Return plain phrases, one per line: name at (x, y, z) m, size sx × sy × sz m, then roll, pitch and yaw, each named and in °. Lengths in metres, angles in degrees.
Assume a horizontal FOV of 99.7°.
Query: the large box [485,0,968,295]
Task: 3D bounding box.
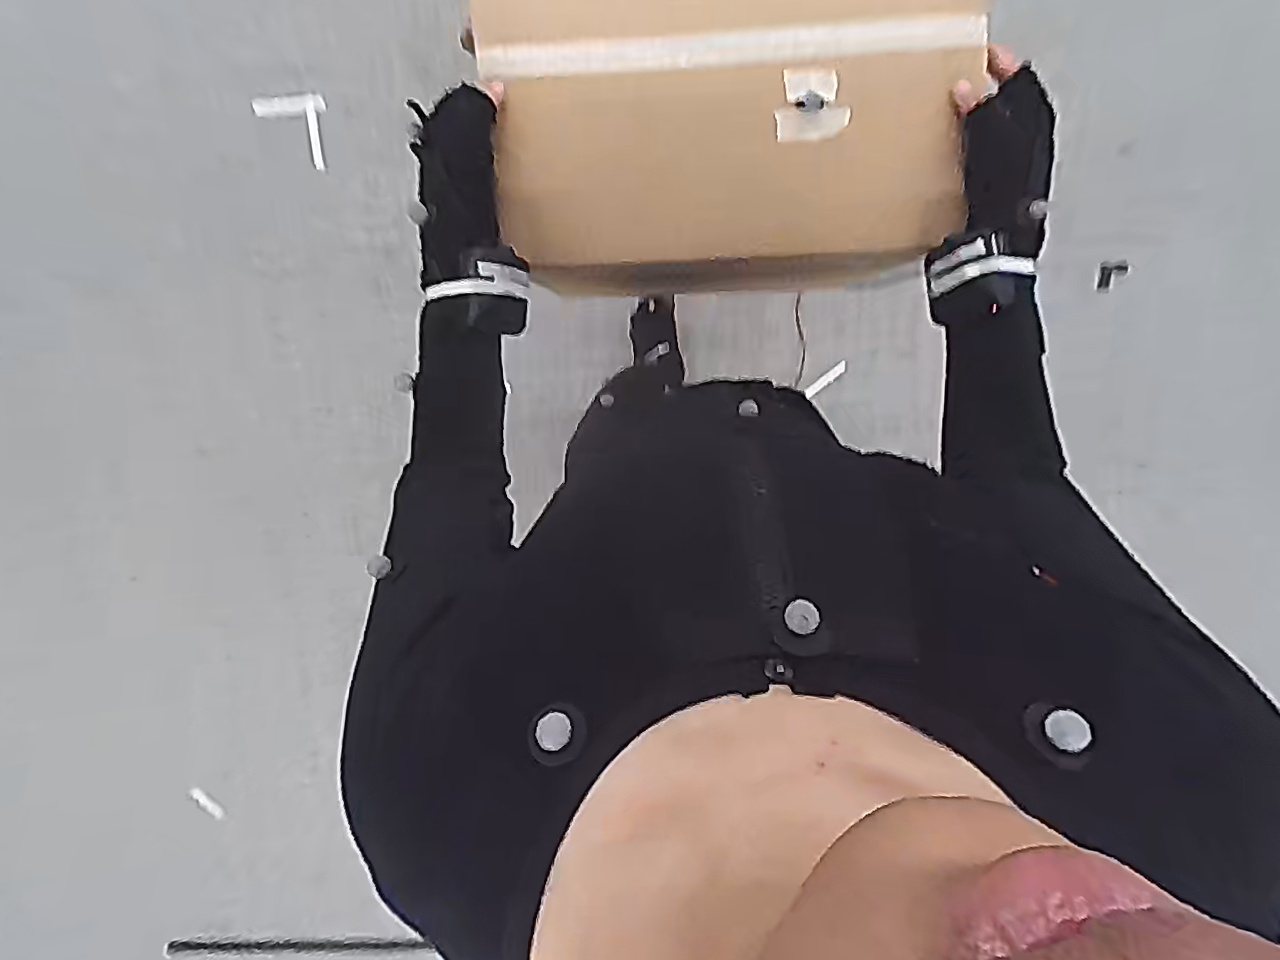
large box at (0.072, -0.393, 0.598) m, size 0.408 × 0.320 × 0.320 m, roll -2°, pitch 104°, yaw 2°
